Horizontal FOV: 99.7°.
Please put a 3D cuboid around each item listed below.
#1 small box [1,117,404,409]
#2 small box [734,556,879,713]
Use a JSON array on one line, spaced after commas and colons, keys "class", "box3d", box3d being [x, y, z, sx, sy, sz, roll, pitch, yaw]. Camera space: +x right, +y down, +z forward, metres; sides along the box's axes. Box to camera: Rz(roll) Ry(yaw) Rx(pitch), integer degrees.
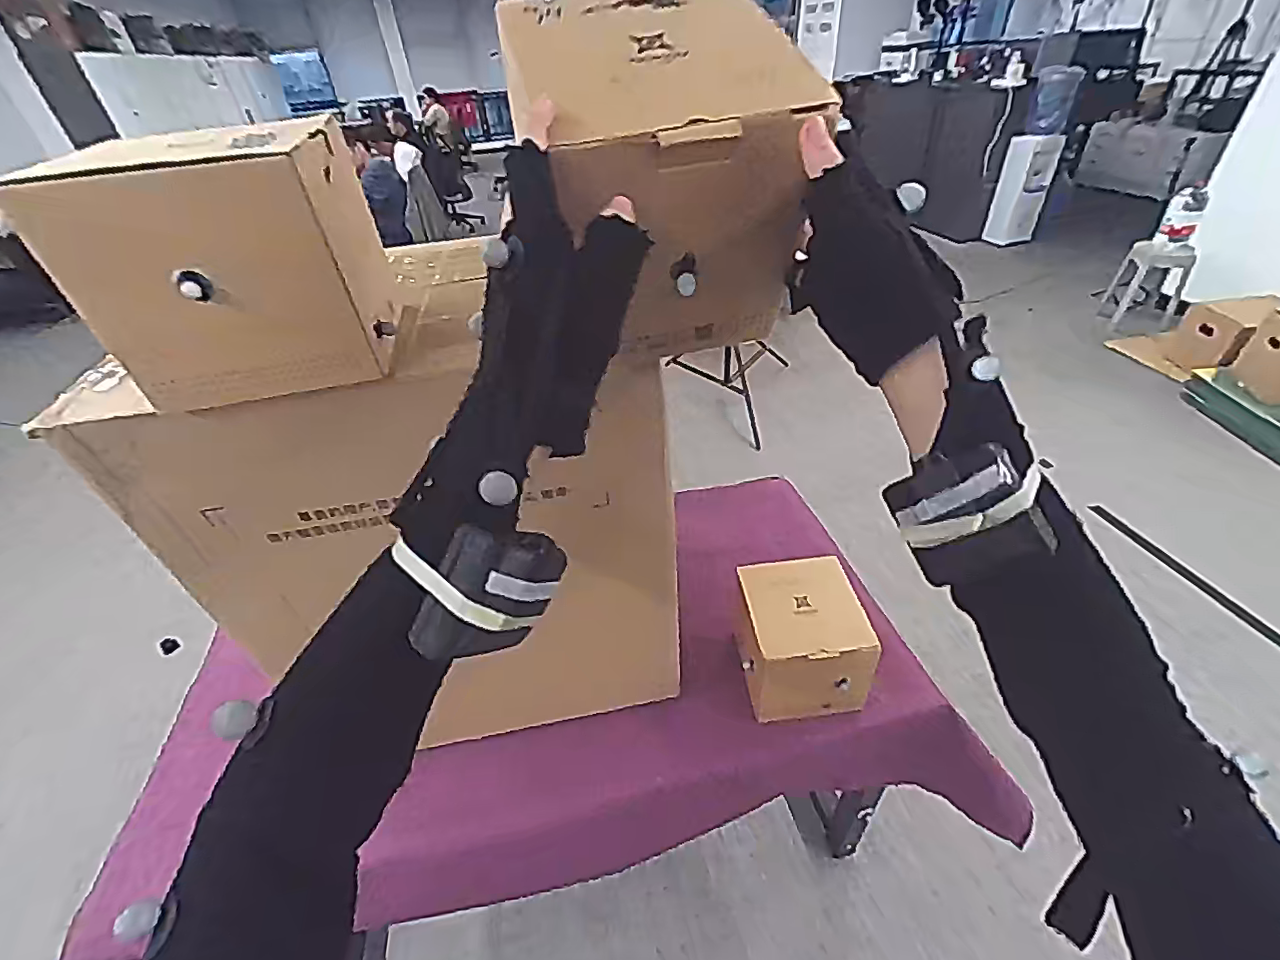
[{"class": "small box", "box3d": [-0.315, -0.181, 0.447, 0.179, 0.176, 0.168, -12, 41, -7]}, {"class": "small box", "box3d": [0.248, 0.247, 0.851, 0.168, 0.176, 0.179, -6, 37, -2]}]
